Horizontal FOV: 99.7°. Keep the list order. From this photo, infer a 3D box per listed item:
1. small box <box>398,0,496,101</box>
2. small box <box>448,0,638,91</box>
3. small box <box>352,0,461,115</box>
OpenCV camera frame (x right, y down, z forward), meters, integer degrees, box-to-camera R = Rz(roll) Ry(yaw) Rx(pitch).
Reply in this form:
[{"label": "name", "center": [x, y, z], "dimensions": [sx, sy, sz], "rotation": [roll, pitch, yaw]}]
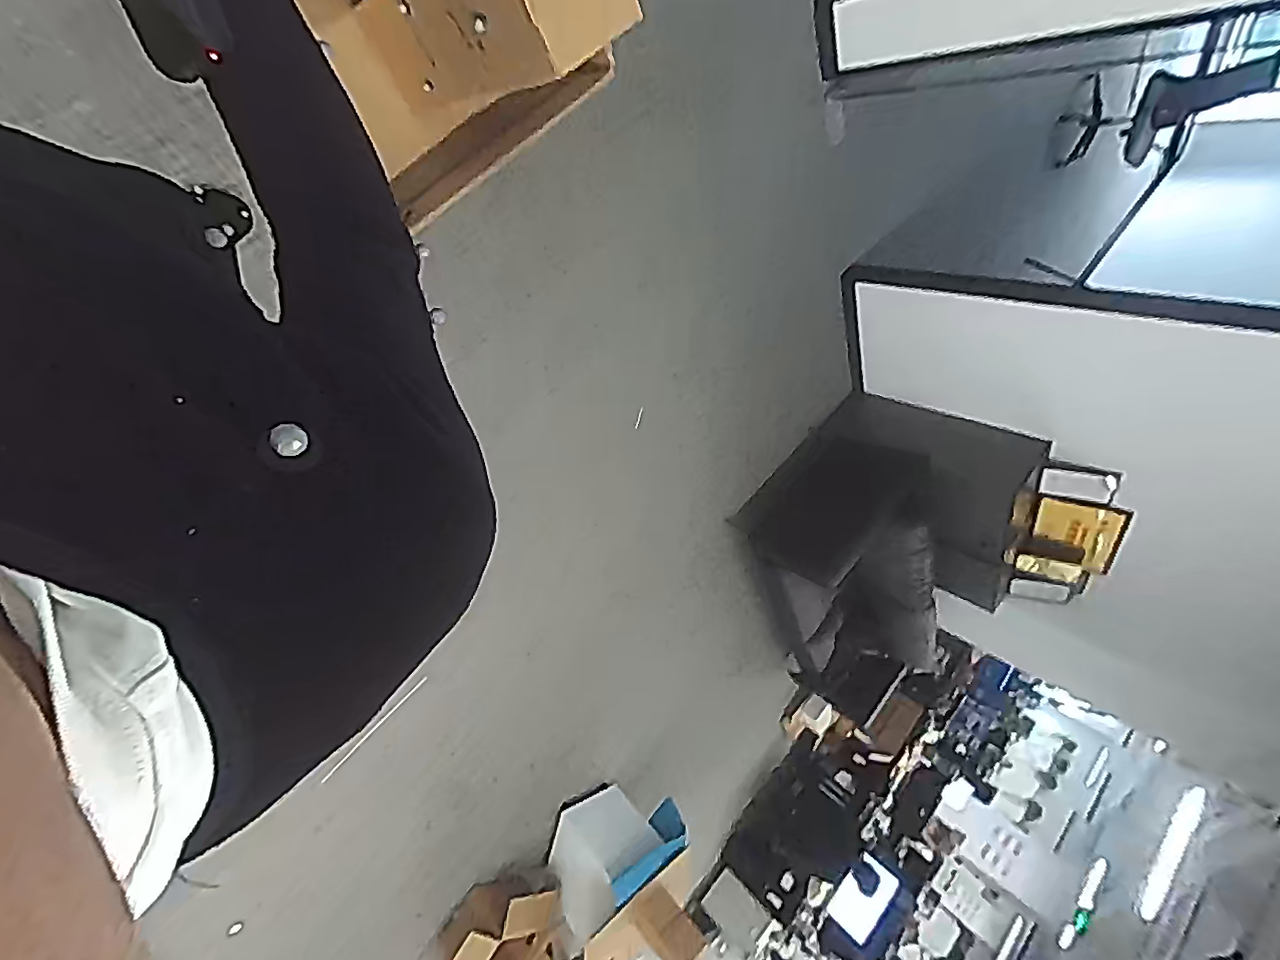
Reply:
[{"label": "small box", "center": [-0.248, -0.722, 0.842], "dimensions": [0.179, 0.176, 0.168], "rotation": [-47, 137, -19]}, {"label": "small box", "center": [-0.139, -0.664, 0.733], "dimensions": [0.179, 0.176, 0.168], "rotation": [-48, 137, -17]}, {"label": "small box", "center": [-0.363, -0.777, 0.946], "dimensions": [0.168, 0.176, 0.179], "rotation": [-48, 137, -17]}]
